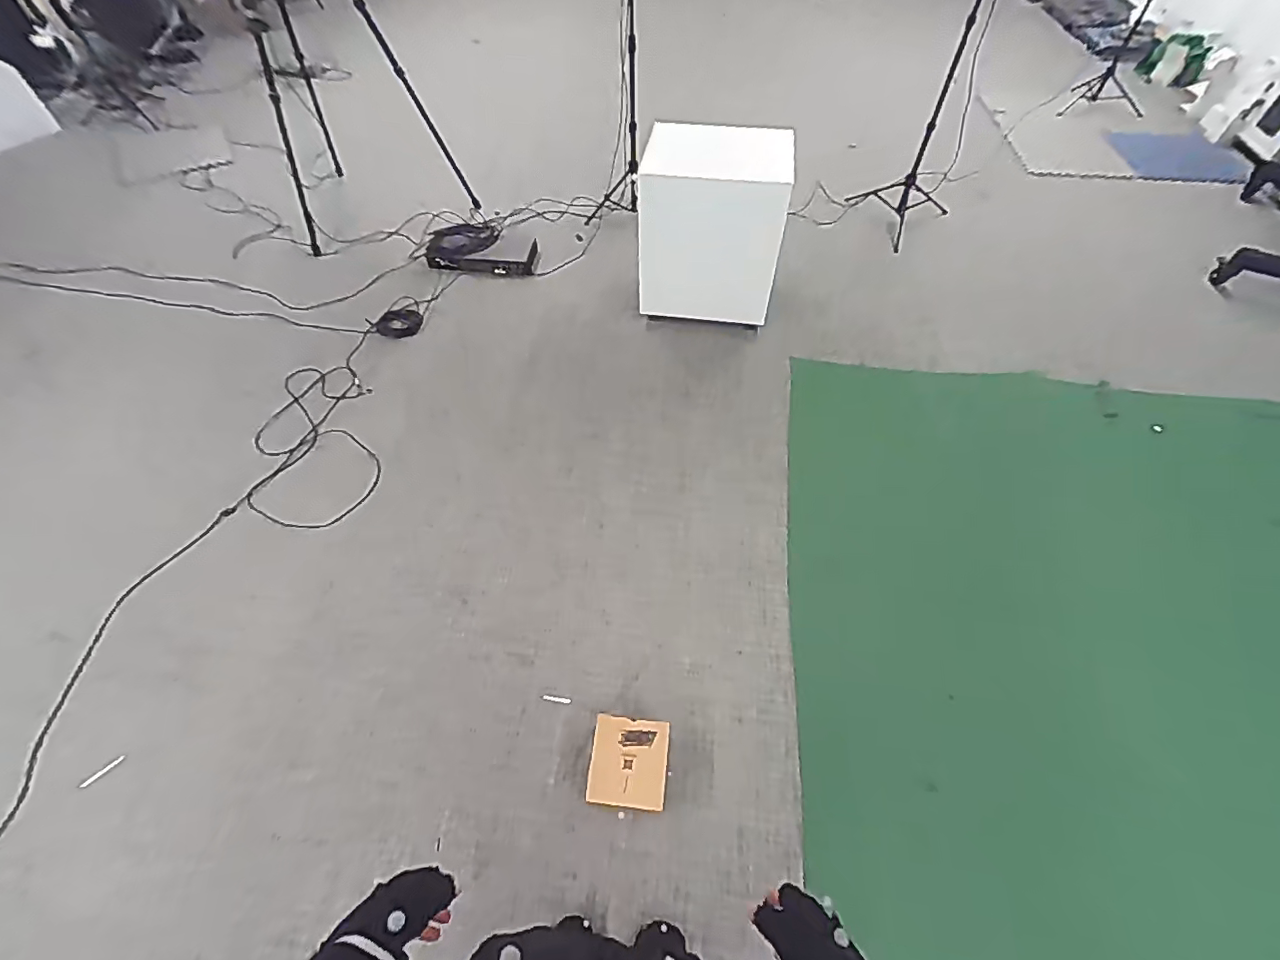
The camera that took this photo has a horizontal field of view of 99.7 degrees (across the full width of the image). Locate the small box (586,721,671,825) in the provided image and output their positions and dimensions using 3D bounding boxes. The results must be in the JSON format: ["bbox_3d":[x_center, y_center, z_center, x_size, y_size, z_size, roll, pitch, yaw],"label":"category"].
[{"bbox_3d":[-0.024,0.664,1.221,0.168,0.176,0.179,5,55,4],"label":"small box"}]
